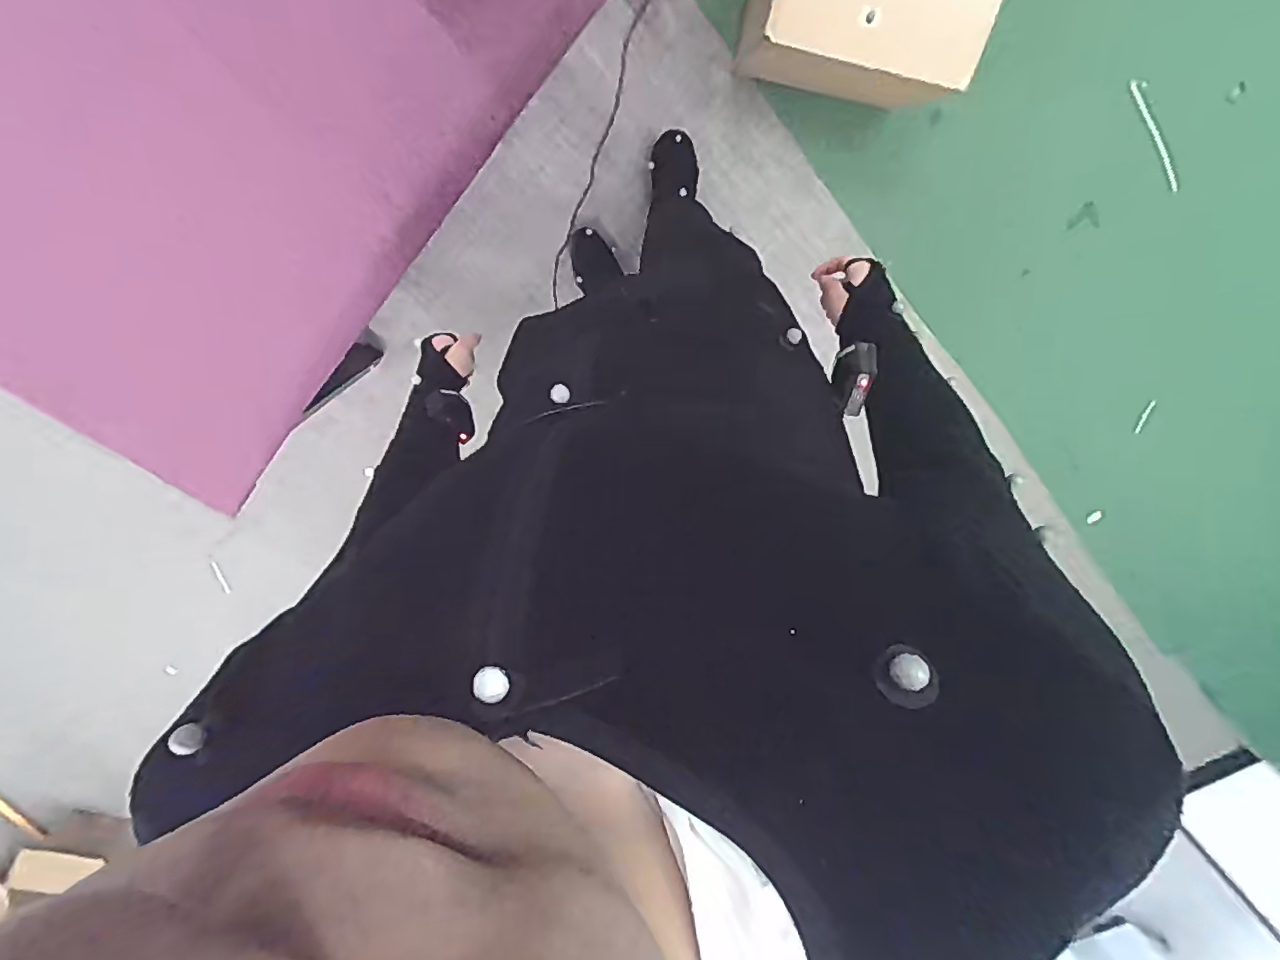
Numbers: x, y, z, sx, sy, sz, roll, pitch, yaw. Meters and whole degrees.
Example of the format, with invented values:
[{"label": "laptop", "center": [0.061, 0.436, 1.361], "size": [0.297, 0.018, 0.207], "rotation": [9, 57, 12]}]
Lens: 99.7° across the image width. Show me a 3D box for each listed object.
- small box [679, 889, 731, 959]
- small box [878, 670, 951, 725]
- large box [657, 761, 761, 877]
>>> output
[{"label": "small box", "center": [0.234, 1.648, 2.000], "size": [0.168, 0.176, 0.179], "rotation": [-2, 119, -2]}, {"label": "small box", "center": [1.068, 0.878, 2.111], "size": [0.168, 0.176, 0.179], "rotation": [-36, 113, 19]}, {"label": "large box", "center": [0.291, 1.485, 2.381], "size": [0.408, 0.320, 0.320], "rotation": [-4, 119, -2]}]
